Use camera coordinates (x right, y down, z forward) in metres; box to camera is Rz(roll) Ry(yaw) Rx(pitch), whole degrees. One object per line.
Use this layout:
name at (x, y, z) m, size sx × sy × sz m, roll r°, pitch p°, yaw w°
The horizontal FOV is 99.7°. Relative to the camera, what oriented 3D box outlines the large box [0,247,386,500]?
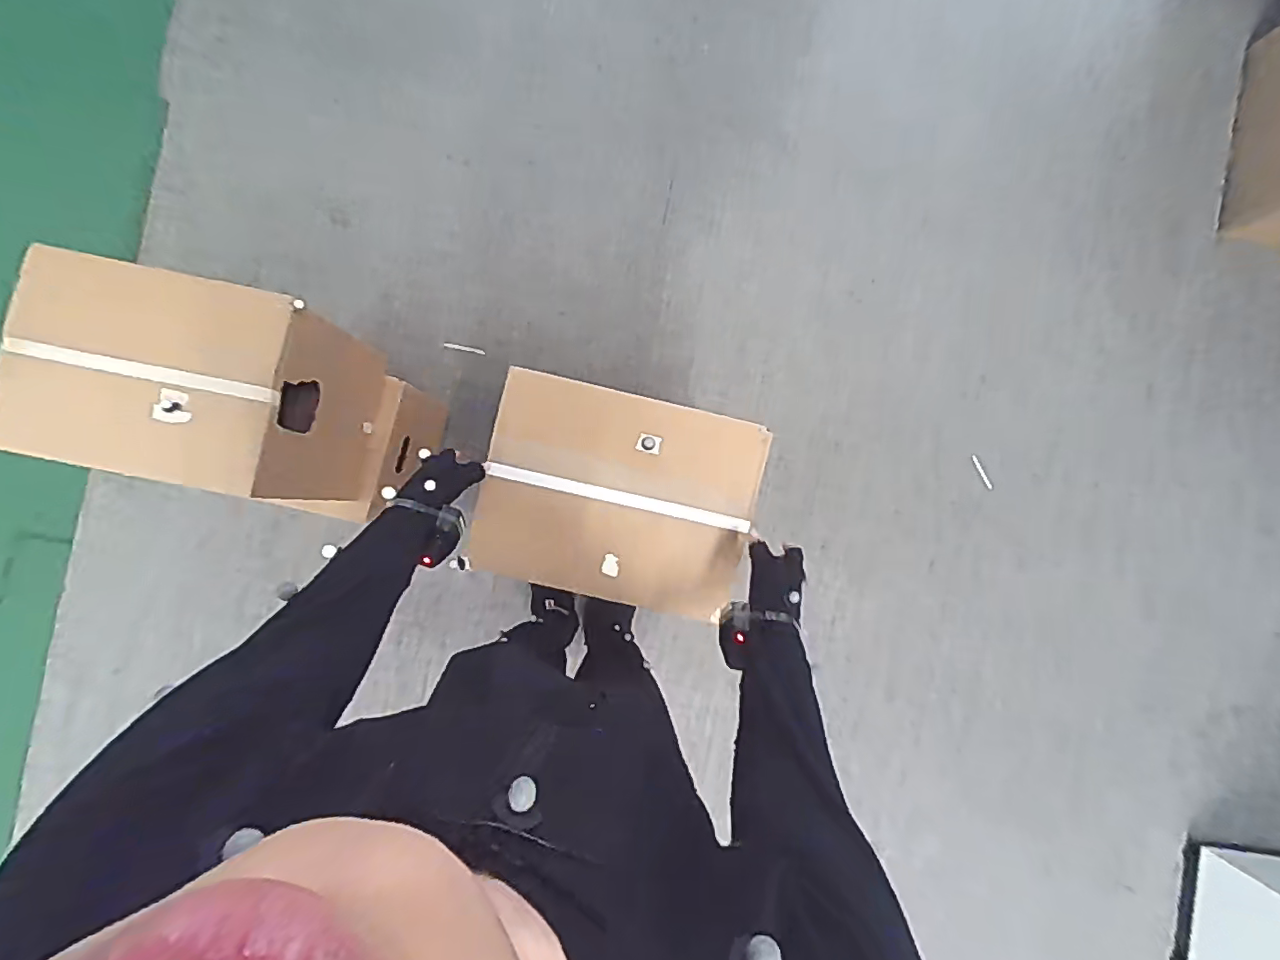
large box at (-0.738, -0.155, 0.952) m, size 0.408 × 0.320 × 0.320 m, roll 12°, pitch 86°, yaw -2°
